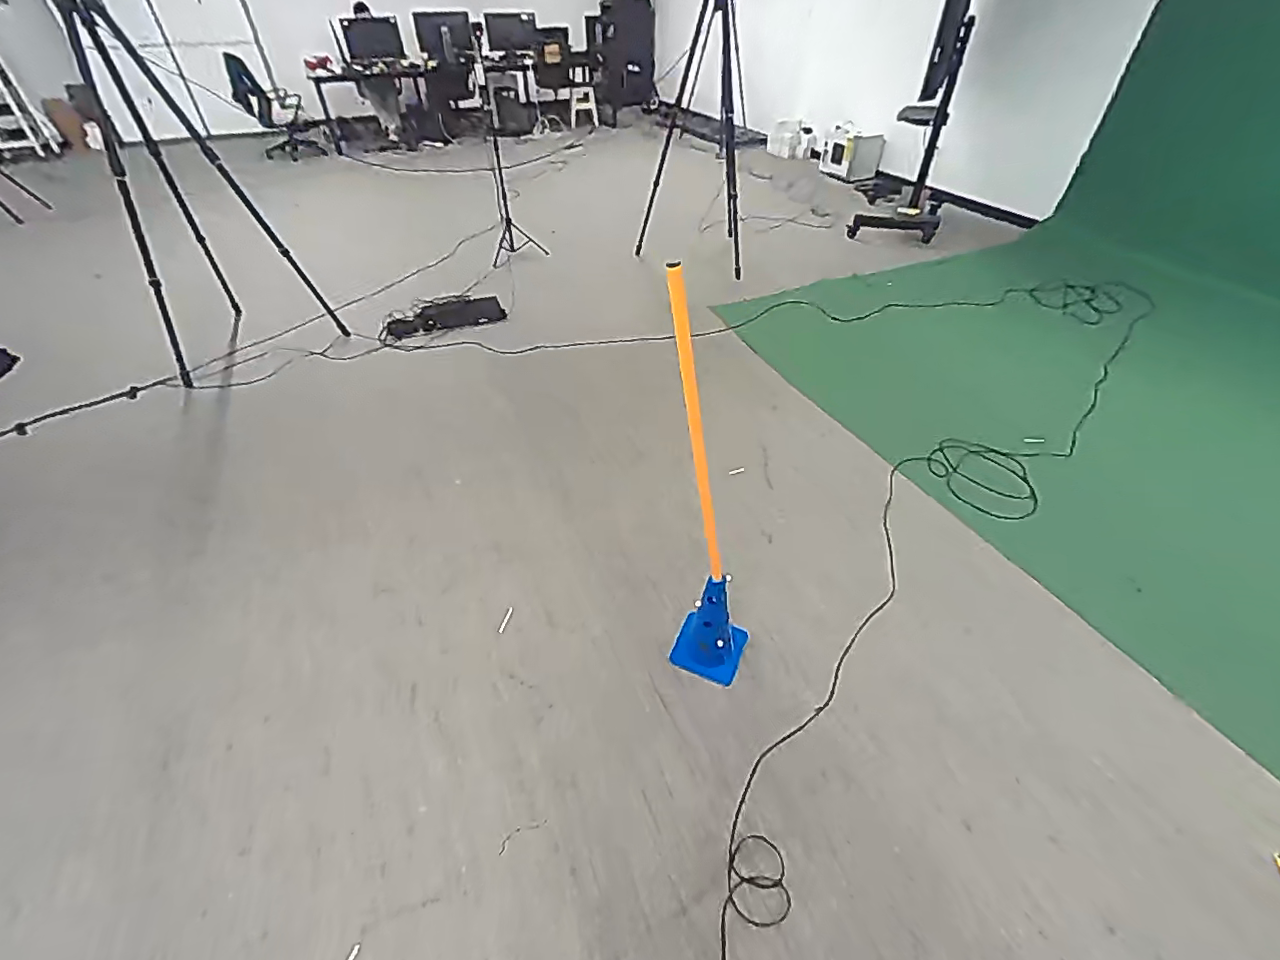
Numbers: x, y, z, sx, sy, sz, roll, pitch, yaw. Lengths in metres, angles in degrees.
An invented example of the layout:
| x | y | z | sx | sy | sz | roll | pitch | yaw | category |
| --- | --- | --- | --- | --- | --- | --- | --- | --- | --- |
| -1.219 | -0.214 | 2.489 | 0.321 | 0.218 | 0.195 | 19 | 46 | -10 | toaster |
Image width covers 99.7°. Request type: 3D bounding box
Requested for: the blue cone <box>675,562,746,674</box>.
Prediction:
| x | y | z | sx | sy | sz | roll | pitch | yaw | category |
| --- | --- | --- | --- | --- | --- | --- | --- | --- | --- |
| 0.208 | 0.368 | 1.529 | 0.193 | 0.380 | 0.192 | 15 | 46 | 18 | blue cone |
